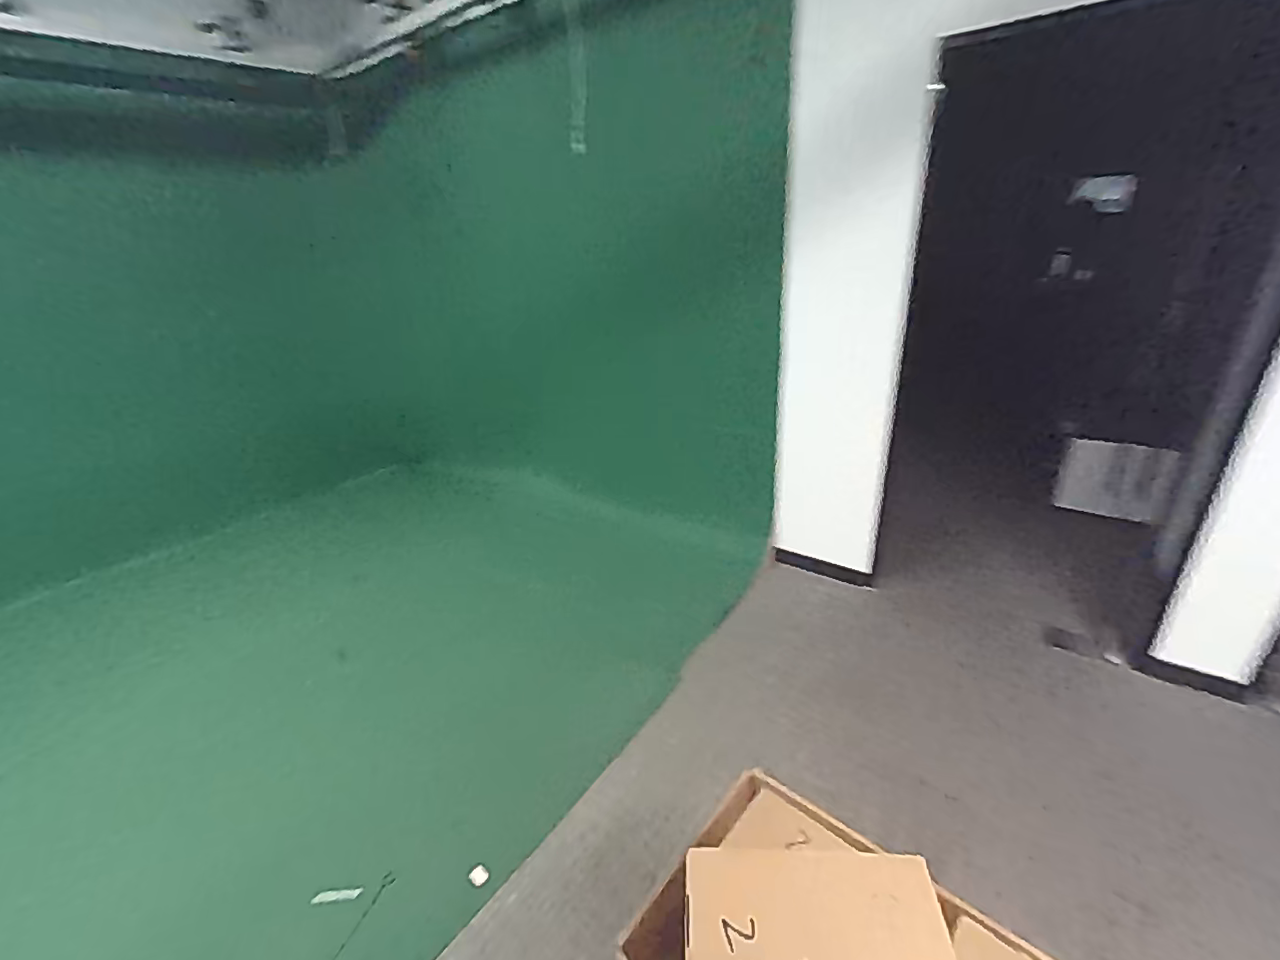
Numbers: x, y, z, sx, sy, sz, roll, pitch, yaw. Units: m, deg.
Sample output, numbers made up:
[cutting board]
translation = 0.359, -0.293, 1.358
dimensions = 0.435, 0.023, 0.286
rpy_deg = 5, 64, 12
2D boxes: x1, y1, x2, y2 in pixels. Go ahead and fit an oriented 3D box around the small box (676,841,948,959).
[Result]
[small box]
translation = 0.116, 0.385, 0.381
dimensions = 0.179, 0.176, 0.168
rpy_deg = -3, 32, 6
